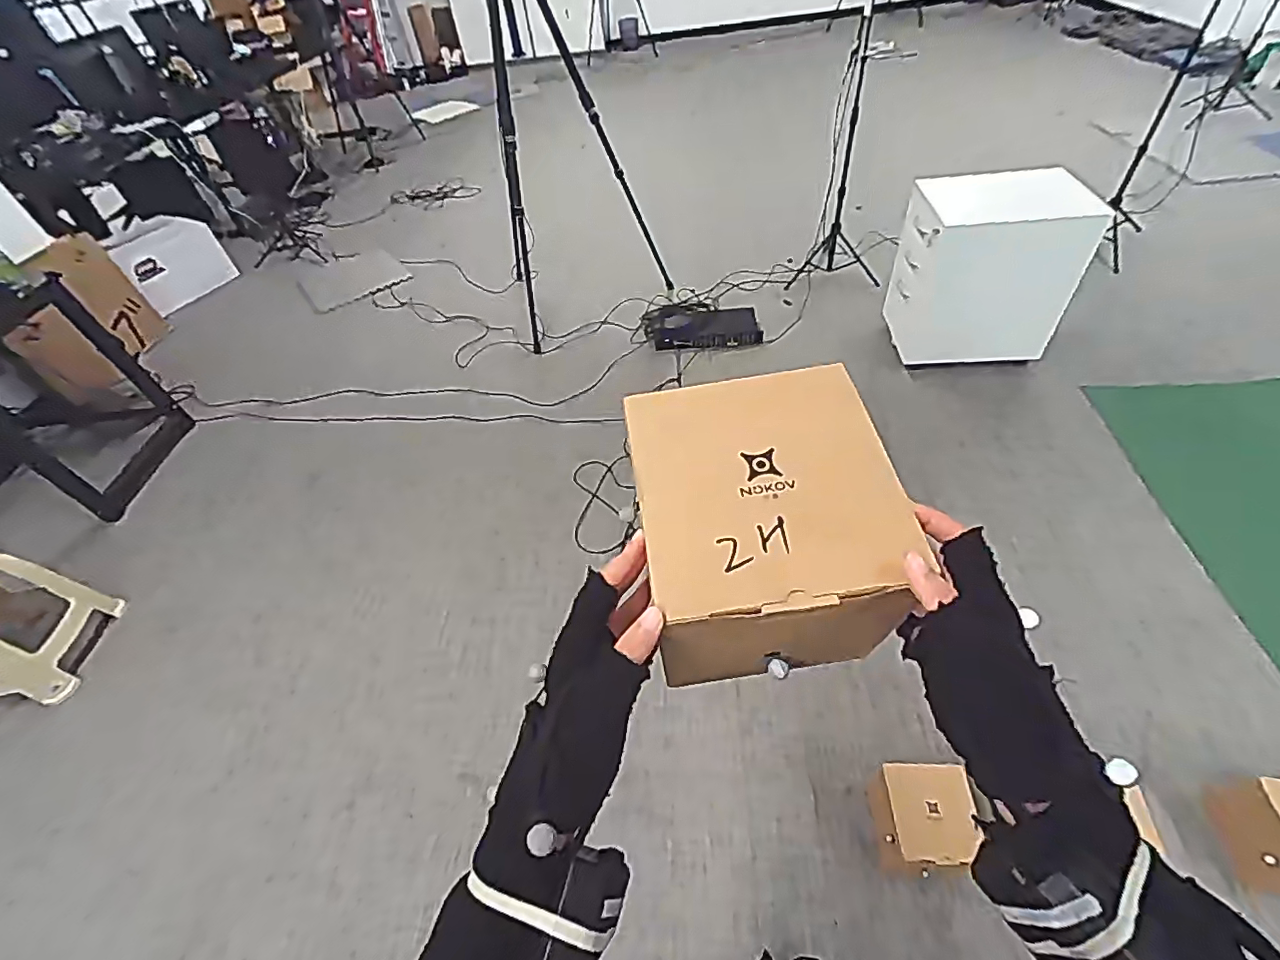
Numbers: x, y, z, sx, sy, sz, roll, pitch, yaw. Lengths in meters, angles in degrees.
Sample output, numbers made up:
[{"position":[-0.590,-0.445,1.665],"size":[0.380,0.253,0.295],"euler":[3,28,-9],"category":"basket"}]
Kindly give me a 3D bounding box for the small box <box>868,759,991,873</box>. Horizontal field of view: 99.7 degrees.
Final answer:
[{"position":[0.597,0.712,1.146],"size":[0.168,0.176,0.179],"euler":[-2,49,7],"category":"small box"}]

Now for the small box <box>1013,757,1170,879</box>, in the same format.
[{"position":[0.910,0.697,1.112],"size":[0.168,0.176,0.179],"euler":[3,48,10],"category":"small box"}]
